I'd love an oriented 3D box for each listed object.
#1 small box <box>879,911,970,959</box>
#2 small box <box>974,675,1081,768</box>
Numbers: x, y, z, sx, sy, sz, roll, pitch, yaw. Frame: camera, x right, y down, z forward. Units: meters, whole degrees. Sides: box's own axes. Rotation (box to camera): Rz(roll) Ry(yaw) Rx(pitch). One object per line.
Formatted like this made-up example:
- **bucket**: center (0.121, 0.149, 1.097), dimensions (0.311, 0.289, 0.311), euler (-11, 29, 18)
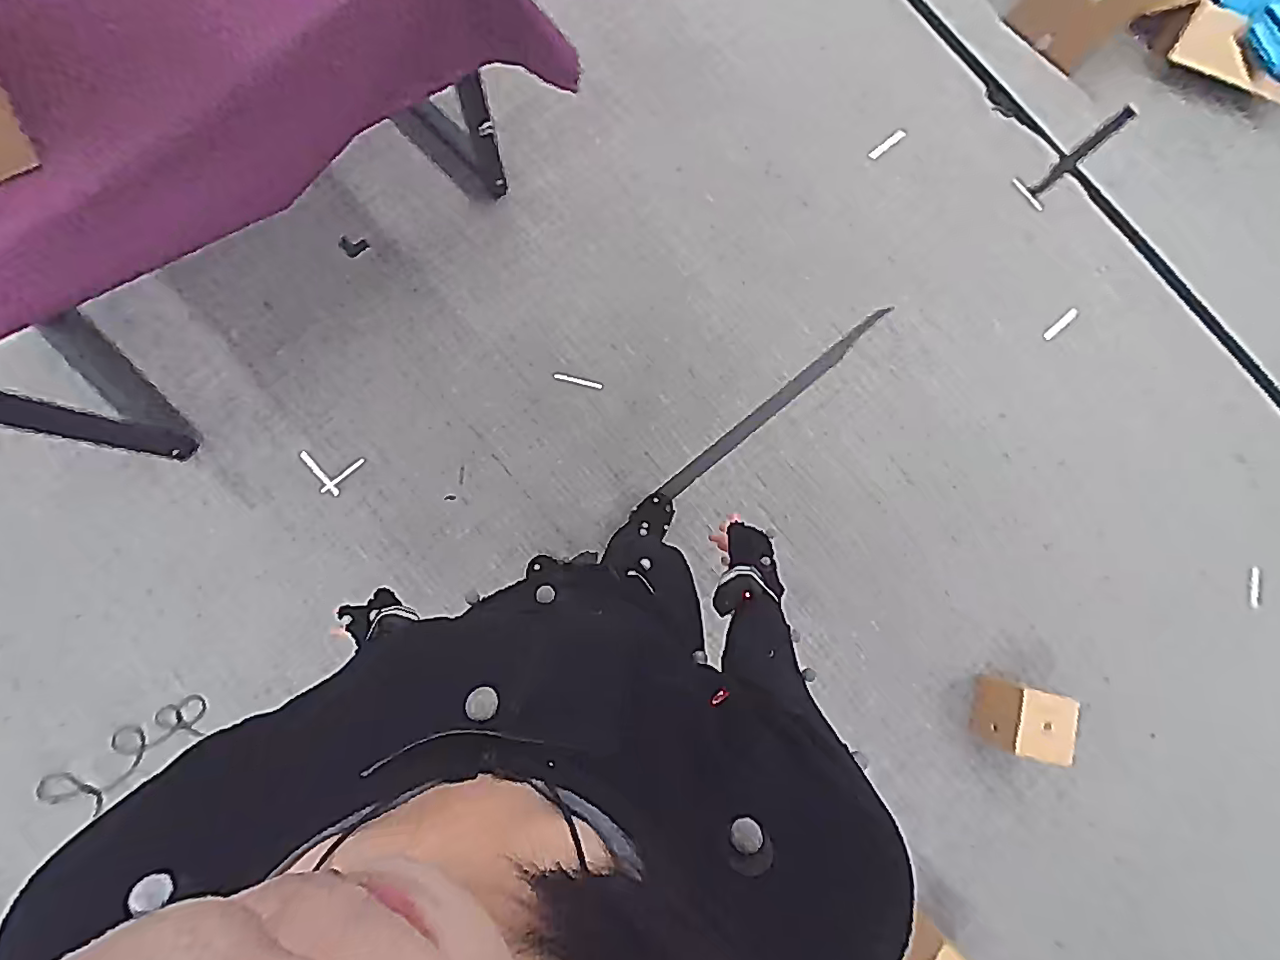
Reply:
- **small box**: center (0.759, 1.267, 1.391), dimensions (0.179, 0.176, 0.168), euler (42, 82, 2)
- **small box**: center (1.059, 0.658, 1.491), dimensions (0.168, 0.176, 0.179), euler (14, 82, -5)
